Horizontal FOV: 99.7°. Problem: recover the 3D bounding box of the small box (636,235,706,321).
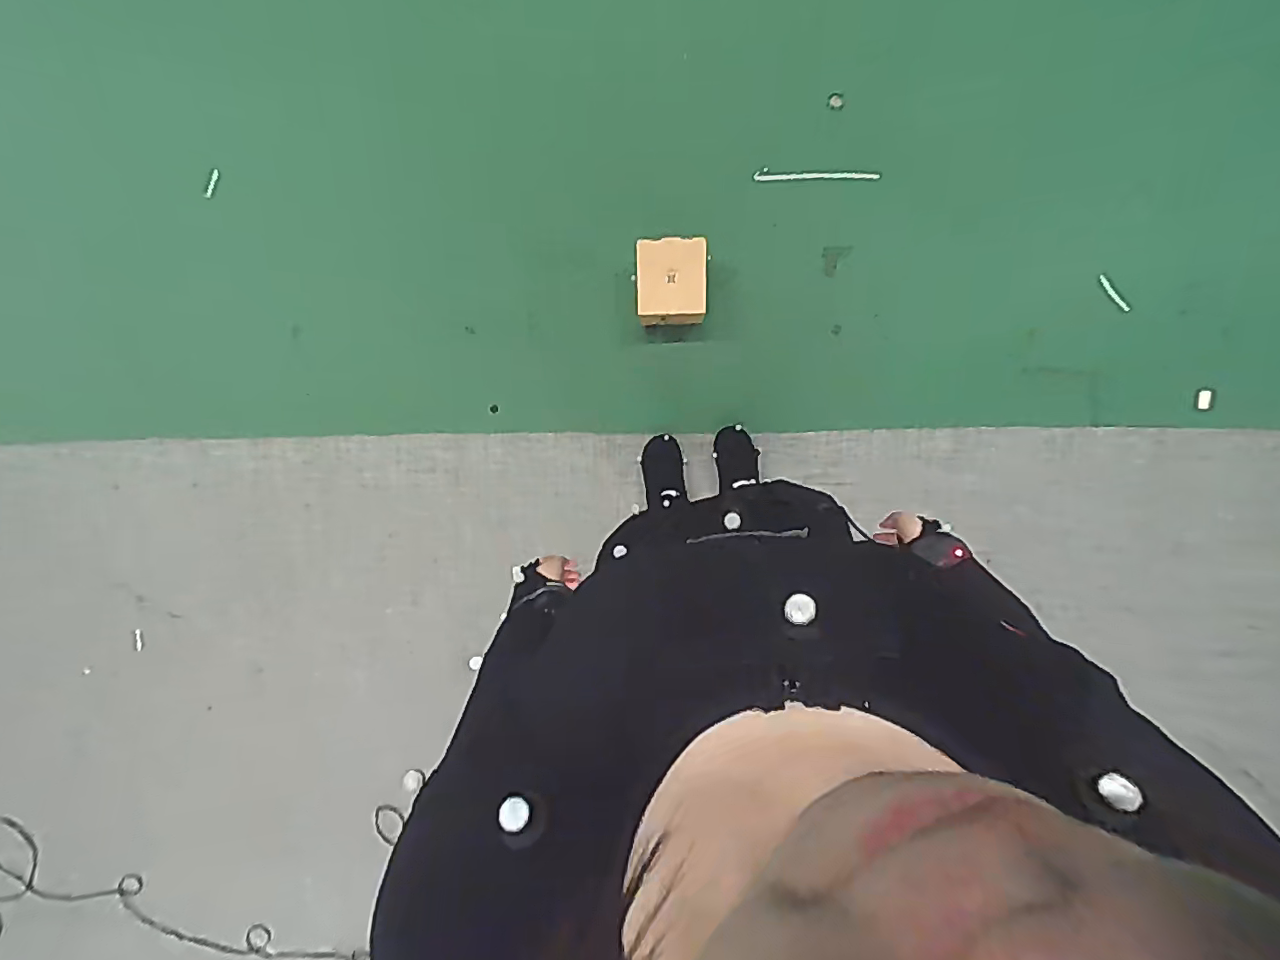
[{"bbox_3d":[0.079,-0.497,1.354,0.168,0.176,0.179,-1,97,4],"label":"small box"}]
